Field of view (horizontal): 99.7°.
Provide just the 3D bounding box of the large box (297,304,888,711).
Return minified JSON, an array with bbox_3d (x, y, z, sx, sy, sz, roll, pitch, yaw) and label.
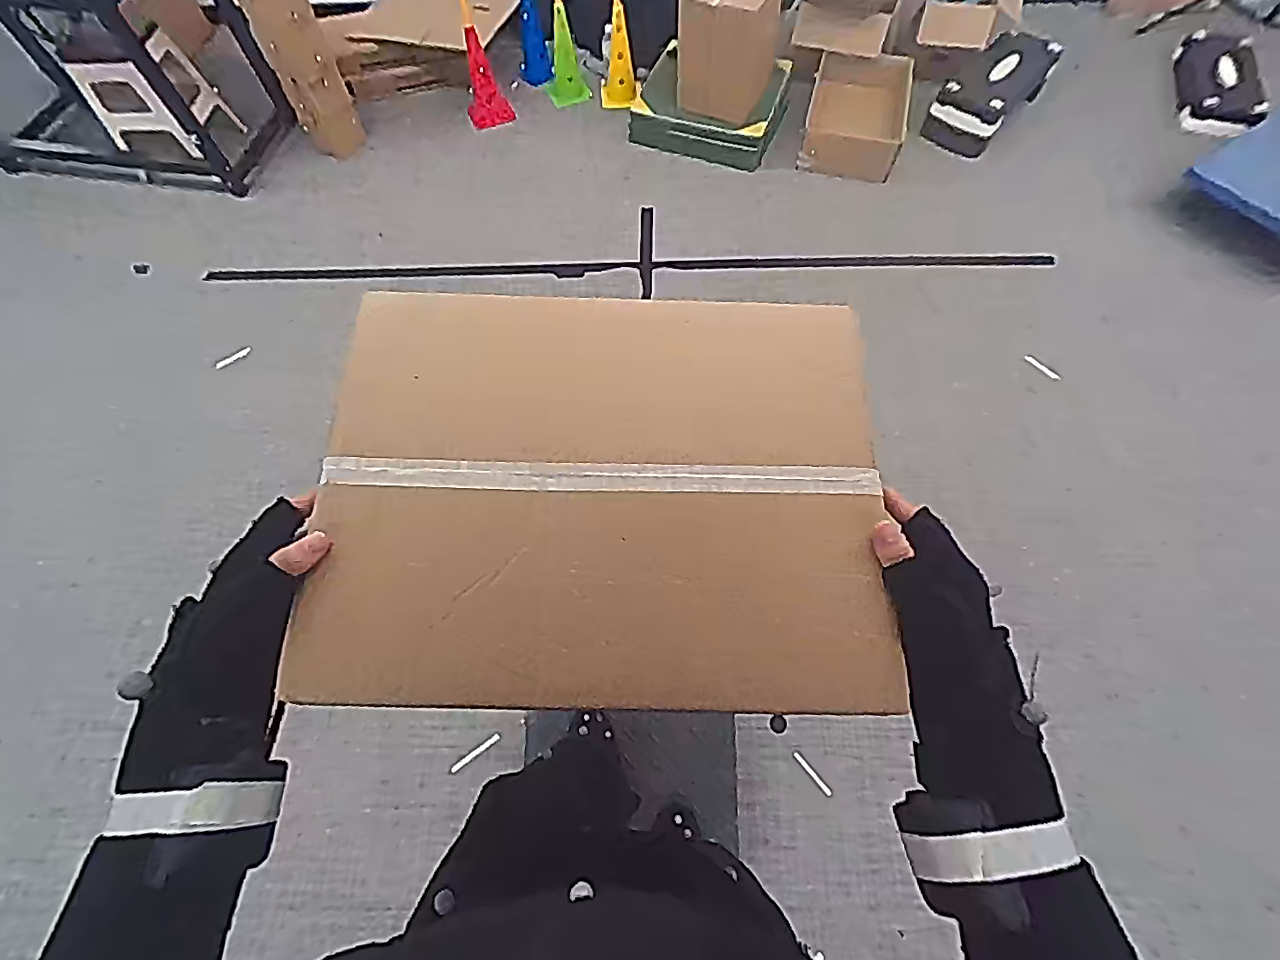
[{"bbox_3d":[-0.030,0.049,0.547,0.408,0.320,0.320,2,70,-1],"label":"large box"}]
